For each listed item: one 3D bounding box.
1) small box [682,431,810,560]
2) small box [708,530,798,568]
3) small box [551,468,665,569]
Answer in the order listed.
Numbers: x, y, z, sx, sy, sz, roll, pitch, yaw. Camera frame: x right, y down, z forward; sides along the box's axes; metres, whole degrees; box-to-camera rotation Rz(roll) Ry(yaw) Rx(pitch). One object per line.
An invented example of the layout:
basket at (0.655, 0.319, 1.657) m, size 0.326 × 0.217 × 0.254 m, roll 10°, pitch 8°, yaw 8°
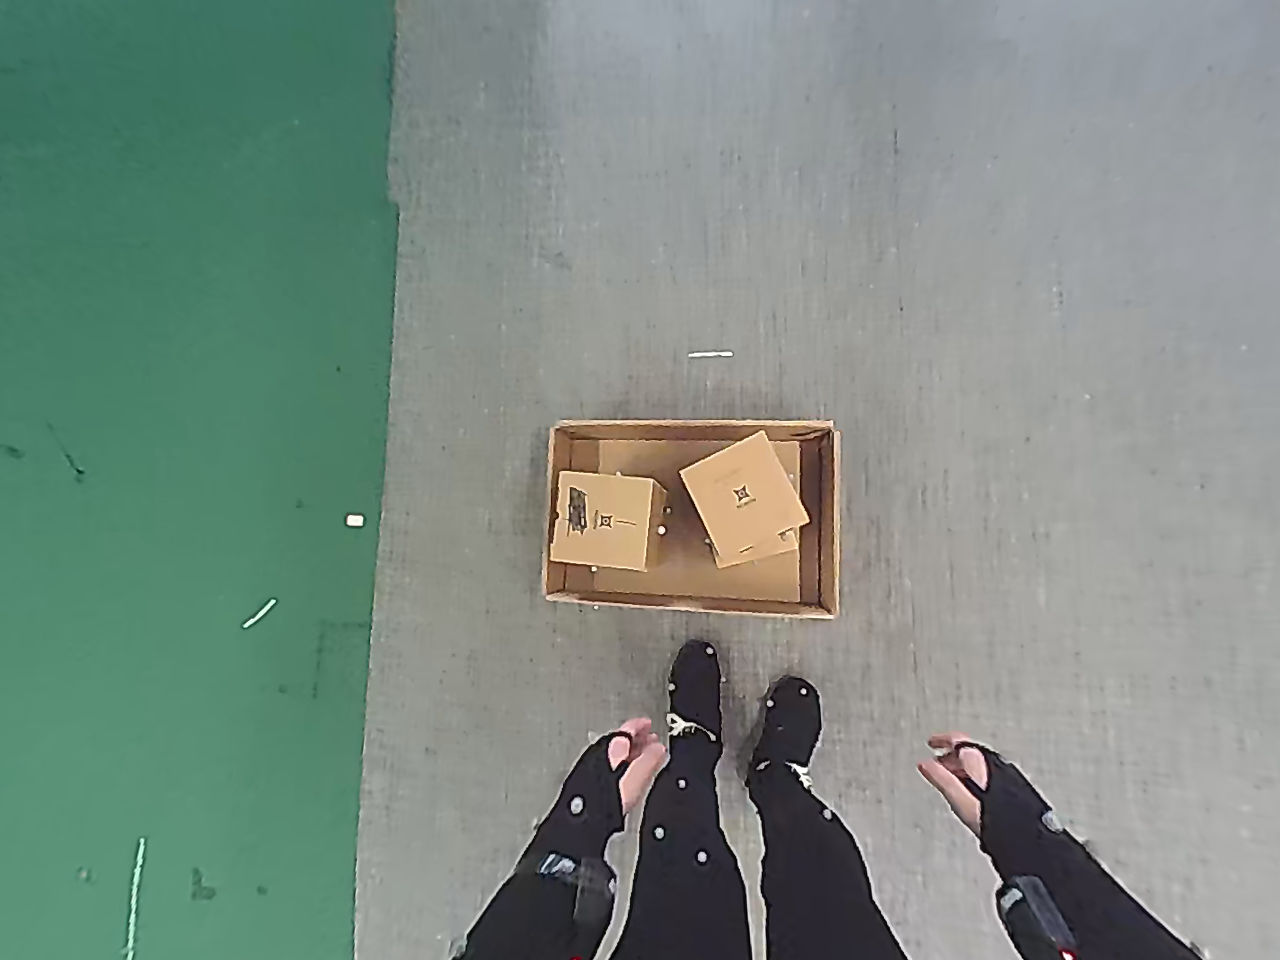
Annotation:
small box at (0.193, 0.032, 0.999) m, size 0.168 × 0.176 × 0.179 m, roll -25°, pitch 80°, yaw 6°
small box at (0.229, 0.079, 1.155) m, size 0.168 × 0.176 × 0.179 m, roll -15°, pitch 82°, yaw 8°
small box at (-0.053, 0.077, 1.037) m, size 0.179 × 0.176 × 0.168 m, roll 5°, pitch 84°, yaw 9°
